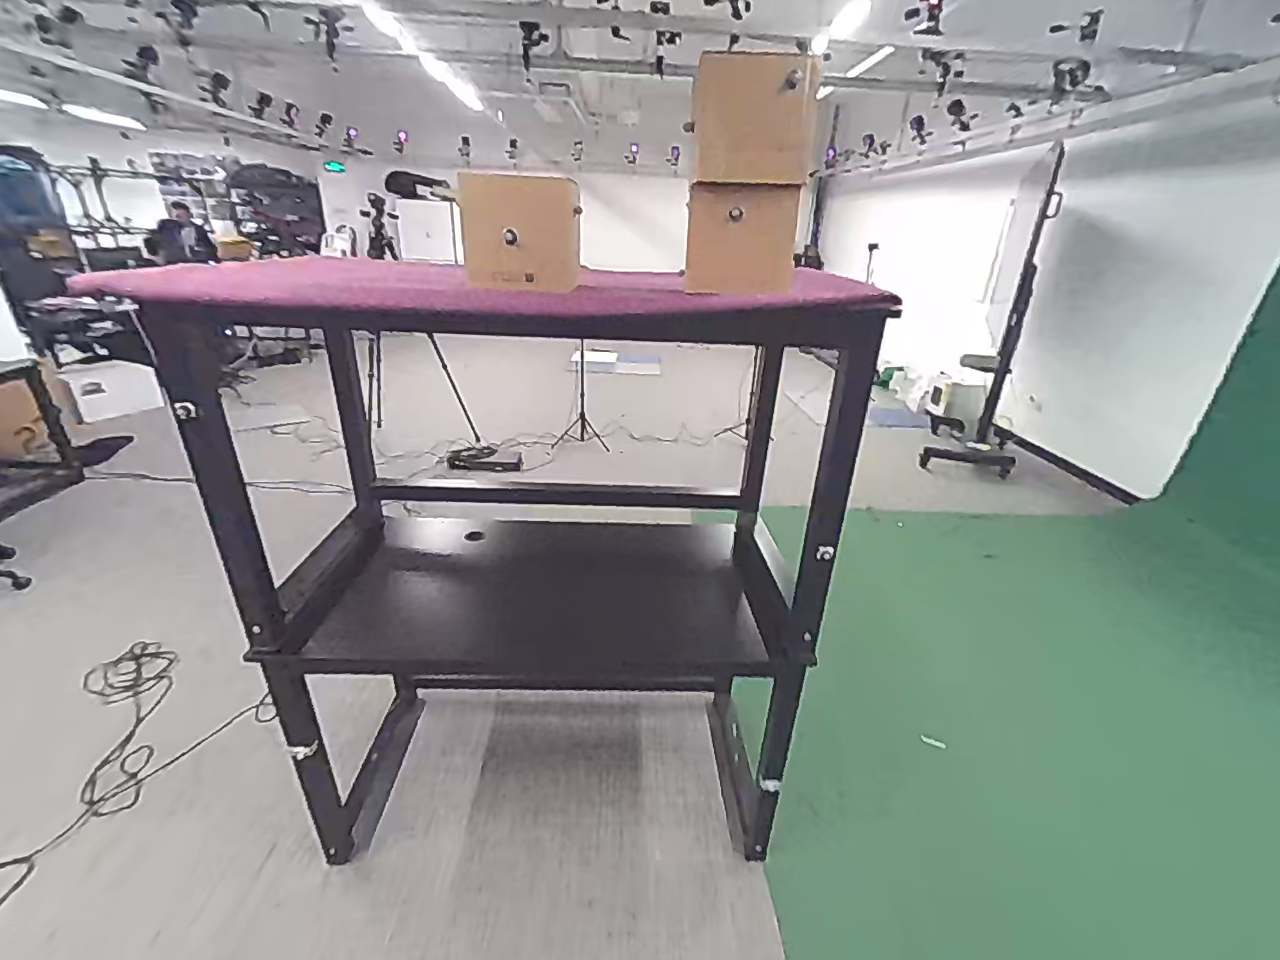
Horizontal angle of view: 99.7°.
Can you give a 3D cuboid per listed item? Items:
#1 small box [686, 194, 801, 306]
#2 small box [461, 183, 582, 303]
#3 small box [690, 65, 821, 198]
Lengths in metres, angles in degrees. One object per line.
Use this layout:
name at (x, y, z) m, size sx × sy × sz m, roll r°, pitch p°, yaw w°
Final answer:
small box at (0.172, -0.400, 0.954) m, size 0.179 × 0.176 × 0.168 m, roll 3°, pitch 22°, yaw 3°
small box at (-0.189, -0.397, 0.914) m, size 0.168 × 0.176 × 0.179 m, roll 3°, pitch 24°, yaw -1°
small box at (0.175, -0.544, 0.878) m, size 0.179 × 0.176 × 0.168 m, roll 2°, pitch 23°, yaw -1°
